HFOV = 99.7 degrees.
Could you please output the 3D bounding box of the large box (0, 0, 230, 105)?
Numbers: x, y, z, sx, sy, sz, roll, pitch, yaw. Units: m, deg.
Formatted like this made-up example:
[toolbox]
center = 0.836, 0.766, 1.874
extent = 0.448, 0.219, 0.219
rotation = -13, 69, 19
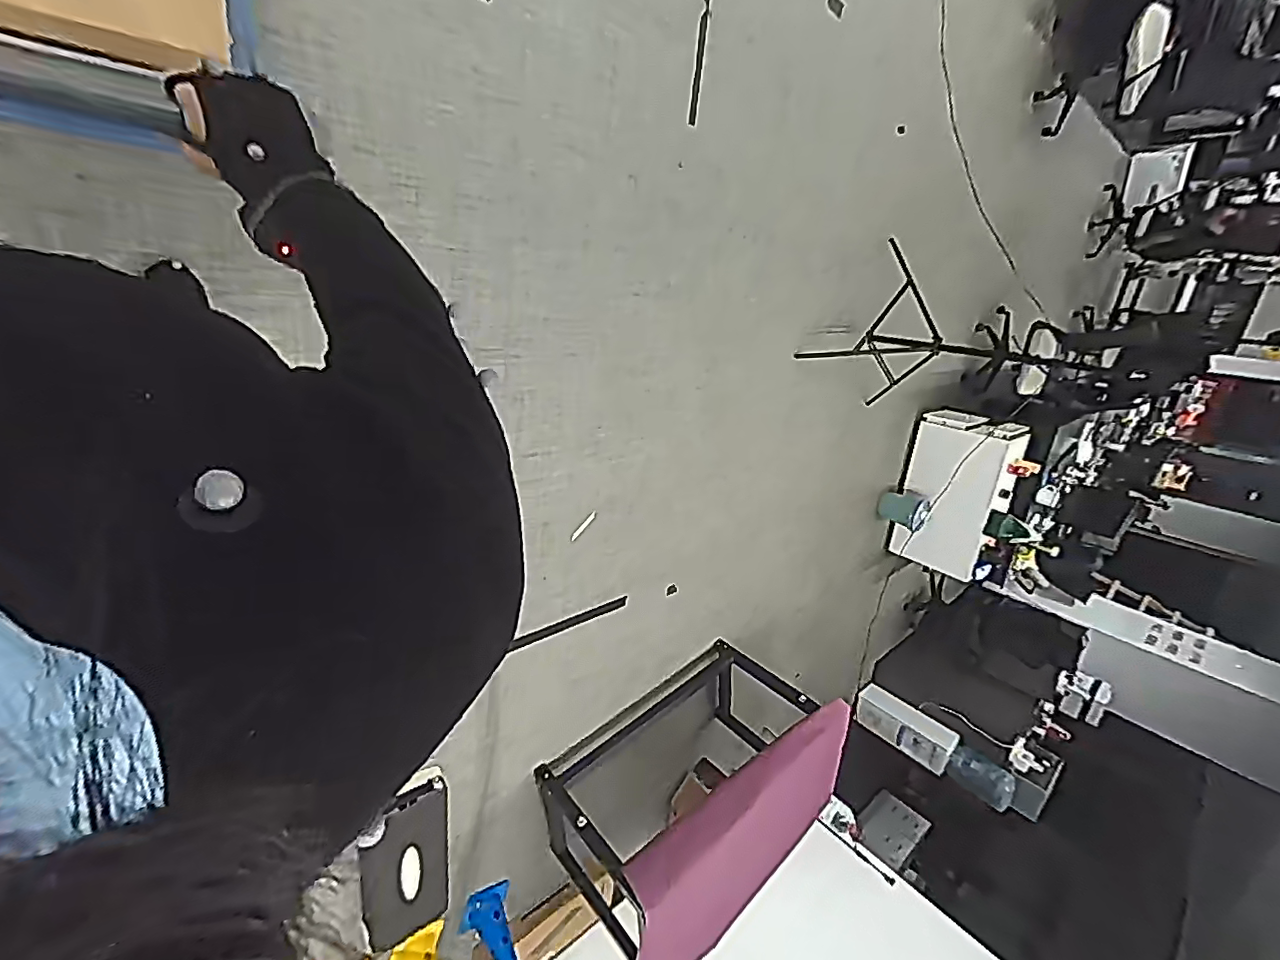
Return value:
[large box]
center = -0.795, -0.711, 0.665
extent = 0.408, 0.320, 0.320
rotation = -11, 119, -41
